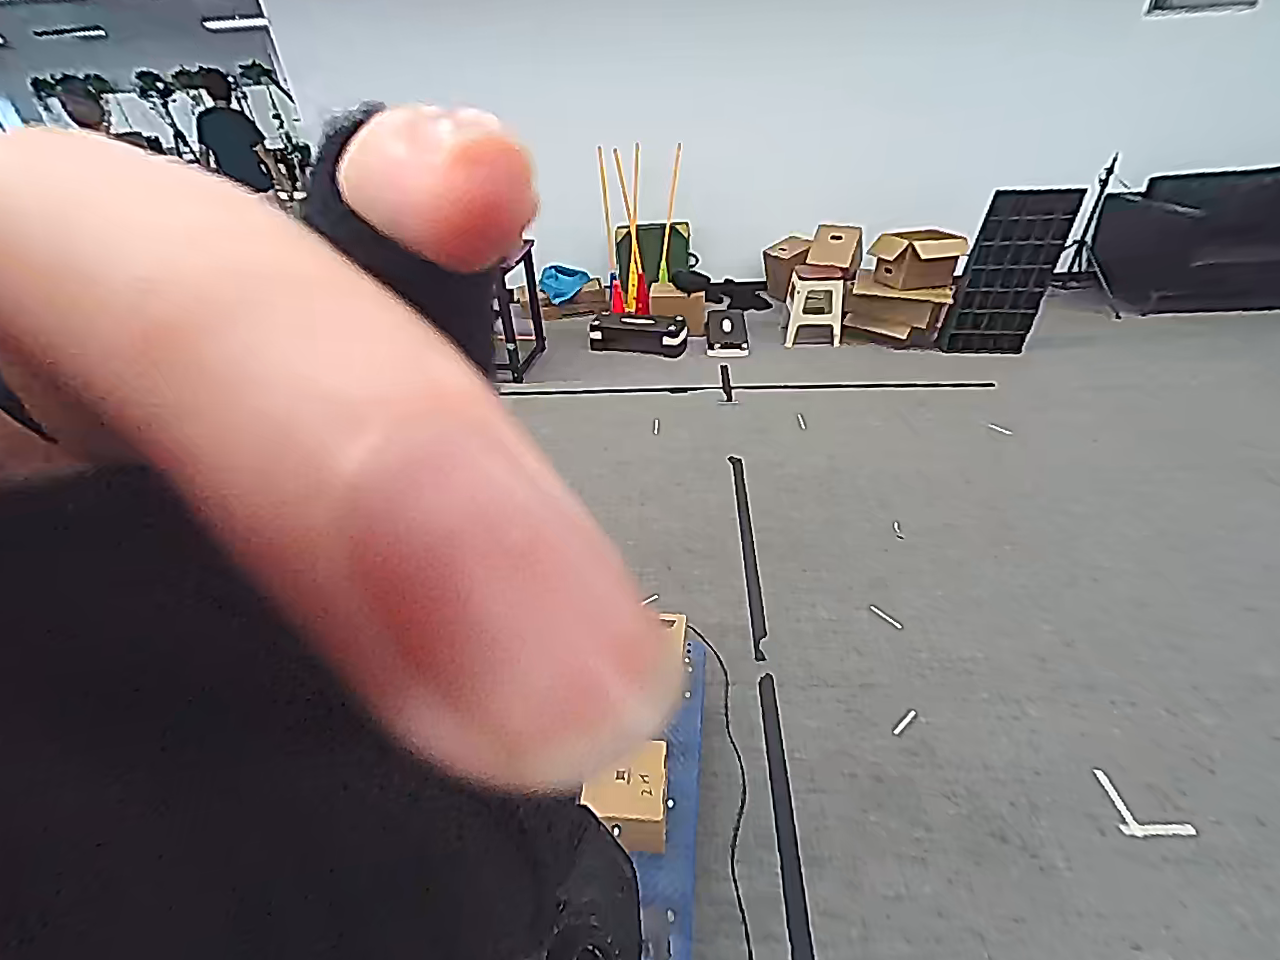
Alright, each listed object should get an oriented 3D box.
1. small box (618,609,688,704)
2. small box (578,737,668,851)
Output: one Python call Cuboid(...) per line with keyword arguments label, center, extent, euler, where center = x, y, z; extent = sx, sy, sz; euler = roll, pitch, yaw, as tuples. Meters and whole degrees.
Cuboid(label="small box", center=(0.039, 0.485, 1.490), extent=(0.168, 0.176, 0.179), euler=(4, 38, 9))
Cuboid(label="small box", center=(-0.030, 0.697, 1.201), extent=(0.179, 0.176, 0.168), euler=(1, 36, 5))
